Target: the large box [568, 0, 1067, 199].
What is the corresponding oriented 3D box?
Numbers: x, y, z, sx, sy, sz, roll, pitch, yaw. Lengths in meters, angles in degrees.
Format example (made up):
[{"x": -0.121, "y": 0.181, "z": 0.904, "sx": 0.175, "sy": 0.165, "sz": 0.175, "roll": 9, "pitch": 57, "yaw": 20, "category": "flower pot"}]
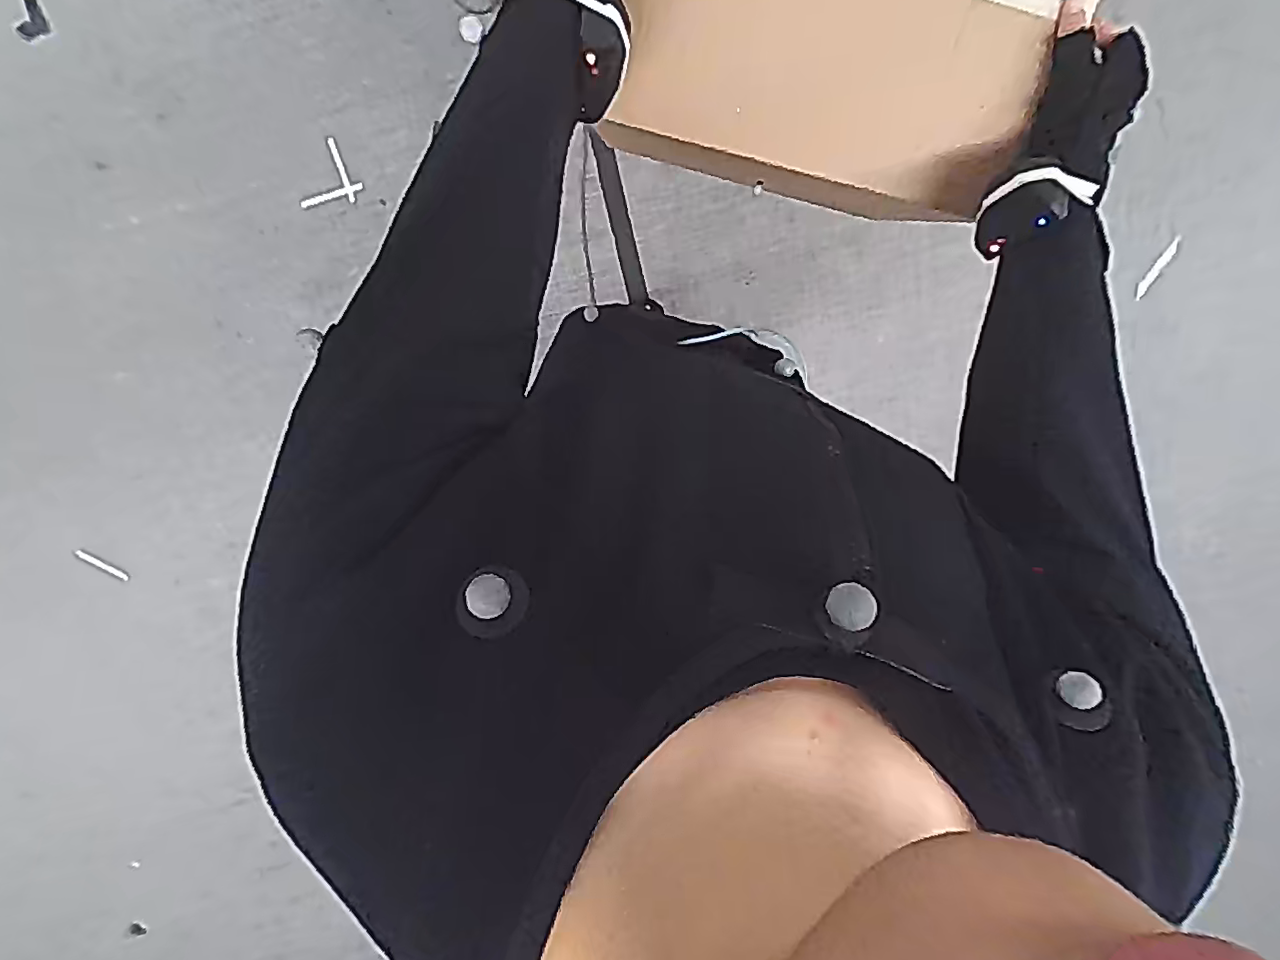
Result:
[{"x": 0.167, "y": -0.502, "z": 0.563, "sx": 0.408, "sy": 0.320, "sz": 0.320, "roll": 13, "pitch": 116, "yaw": -3, "category": "large box"}]
